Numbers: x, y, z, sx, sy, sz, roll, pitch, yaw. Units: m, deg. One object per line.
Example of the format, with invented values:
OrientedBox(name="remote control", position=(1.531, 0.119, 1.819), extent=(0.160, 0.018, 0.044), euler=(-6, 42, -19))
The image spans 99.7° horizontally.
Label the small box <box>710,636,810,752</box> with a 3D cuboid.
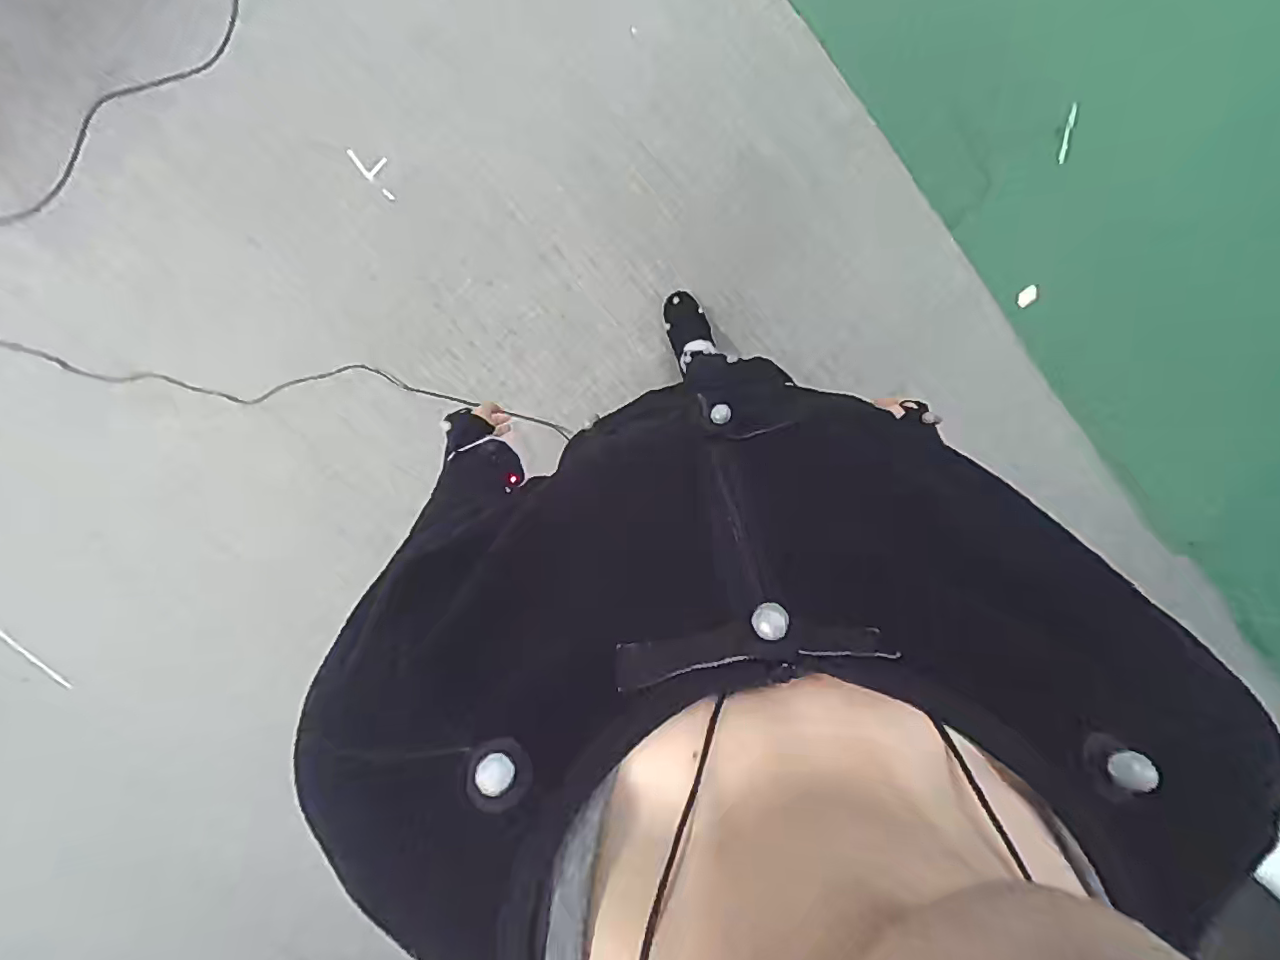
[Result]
OrientedBox(name="small box", position=(0.294, 0.538, 1.378), extent=(0.179, 0.176, 0.168), euler=(-43, 99, 8))
